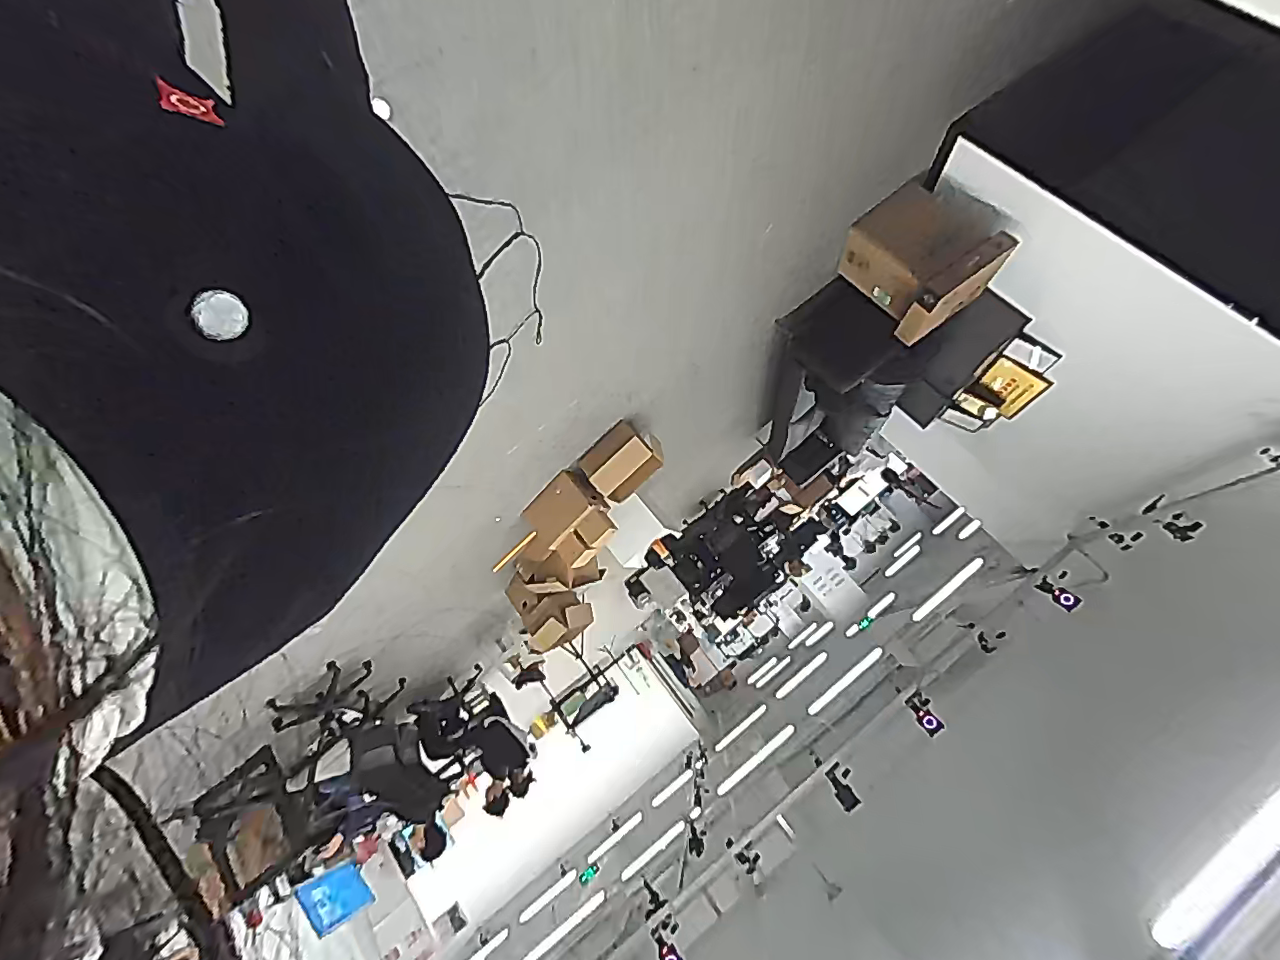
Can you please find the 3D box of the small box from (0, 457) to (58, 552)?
[{"bbox_3d":[-1.582,0.047,1.297,0.179,0.176,0.168,-40,162,1],"label":"small box"}]
